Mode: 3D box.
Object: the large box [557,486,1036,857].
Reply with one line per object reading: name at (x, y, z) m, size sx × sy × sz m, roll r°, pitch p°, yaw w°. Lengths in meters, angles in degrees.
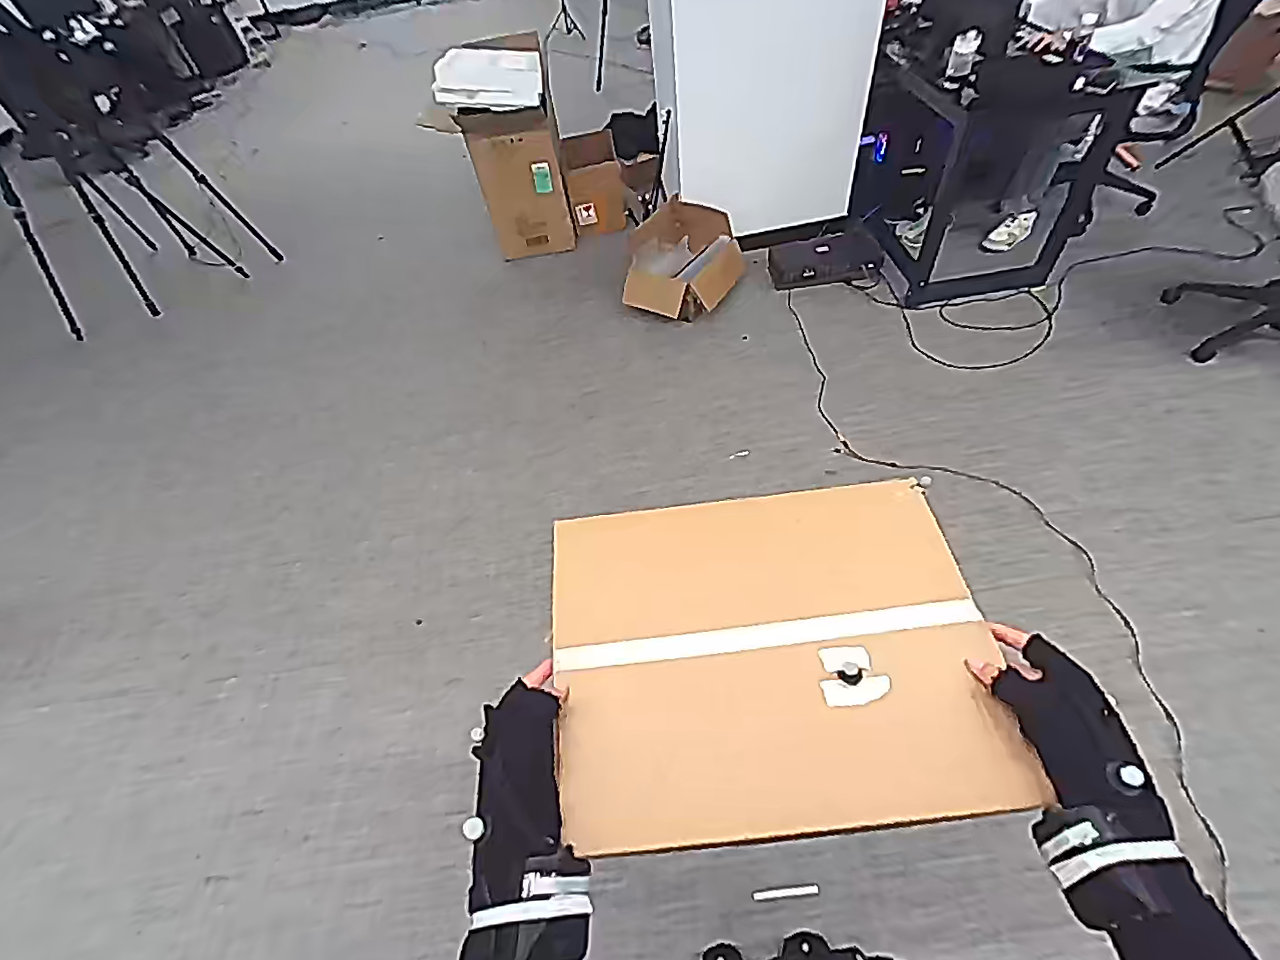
large box at (0.128, 0.241, 0.649) m, size 0.408 × 0.320 × 0.320 m, roll -7°, pitch 55°, yaw 1°
